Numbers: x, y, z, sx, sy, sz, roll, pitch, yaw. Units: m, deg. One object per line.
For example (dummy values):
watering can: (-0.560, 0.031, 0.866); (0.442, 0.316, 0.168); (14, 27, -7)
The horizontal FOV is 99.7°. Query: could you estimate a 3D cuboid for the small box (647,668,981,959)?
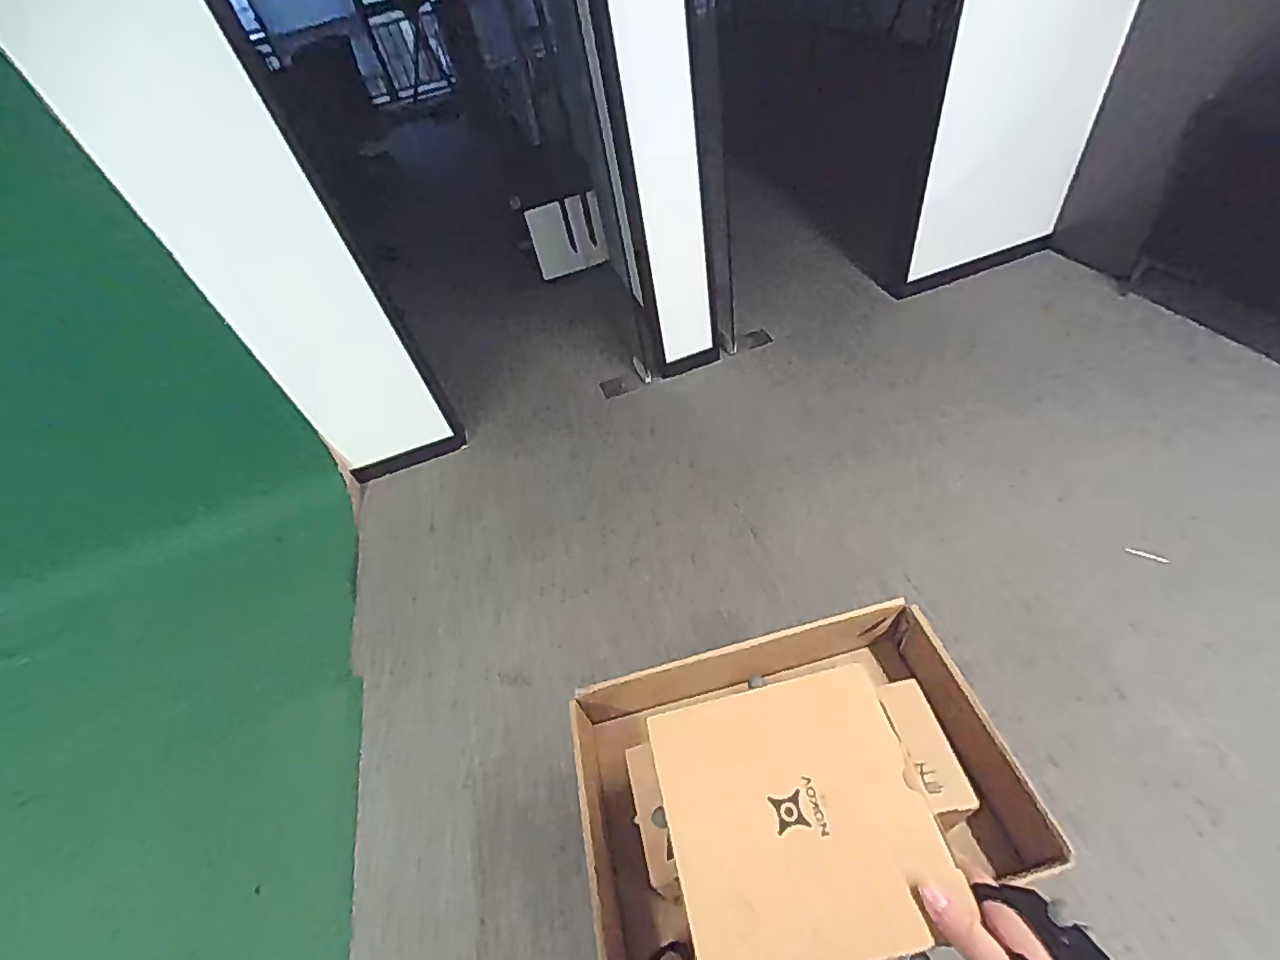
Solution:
small box: (0.114, 0.274, 0.429); (0.179, 0.176, 0.168); (-13, 53, -3)
